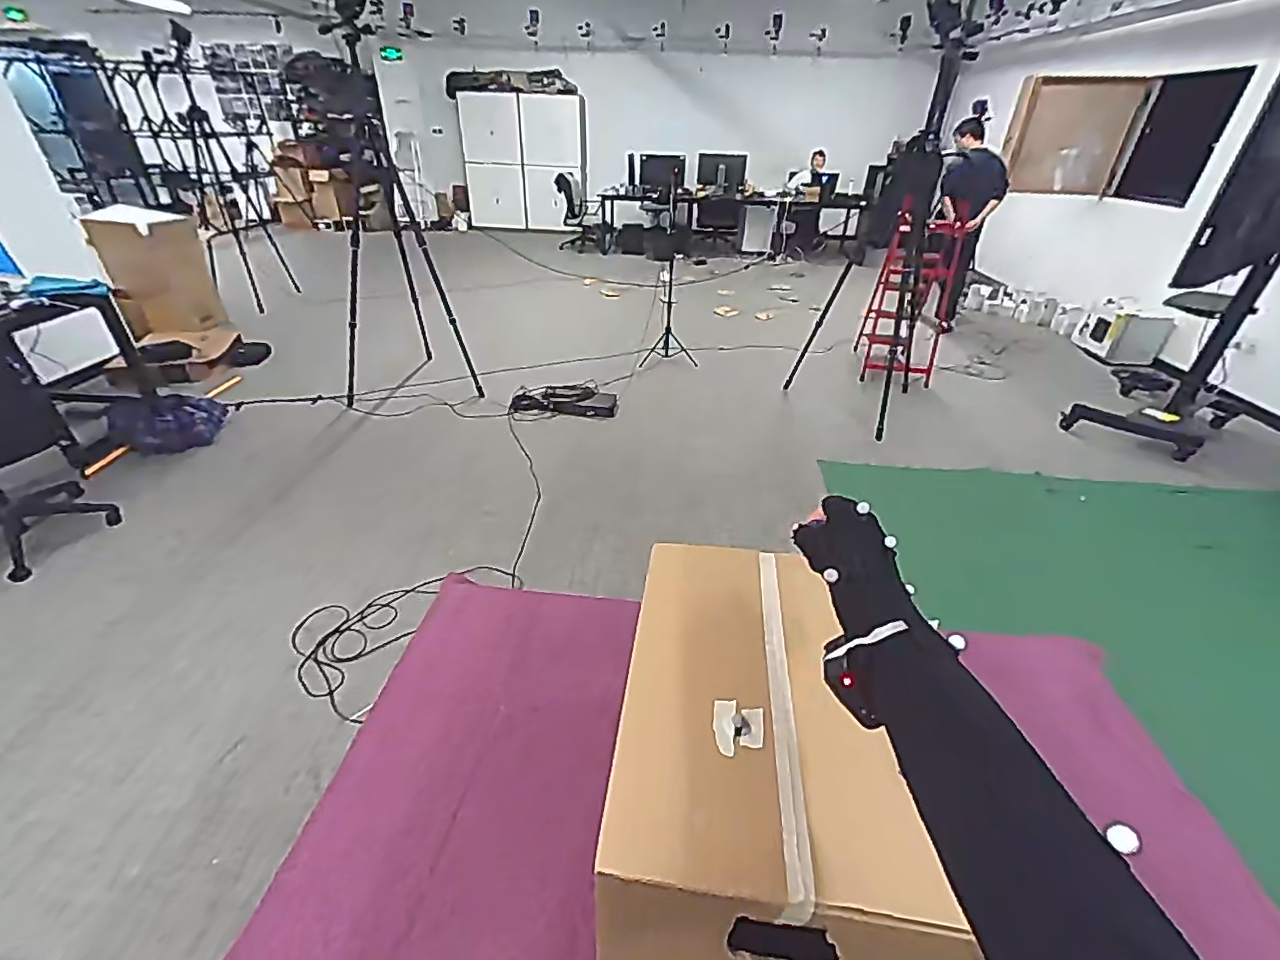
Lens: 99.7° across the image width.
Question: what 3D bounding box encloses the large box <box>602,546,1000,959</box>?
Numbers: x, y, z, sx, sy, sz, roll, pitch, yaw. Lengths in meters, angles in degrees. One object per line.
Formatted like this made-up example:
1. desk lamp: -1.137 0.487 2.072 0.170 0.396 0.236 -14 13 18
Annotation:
1. large box: 0.138 0.339 0.663 0.320 0.320 0.408 6 34 6
